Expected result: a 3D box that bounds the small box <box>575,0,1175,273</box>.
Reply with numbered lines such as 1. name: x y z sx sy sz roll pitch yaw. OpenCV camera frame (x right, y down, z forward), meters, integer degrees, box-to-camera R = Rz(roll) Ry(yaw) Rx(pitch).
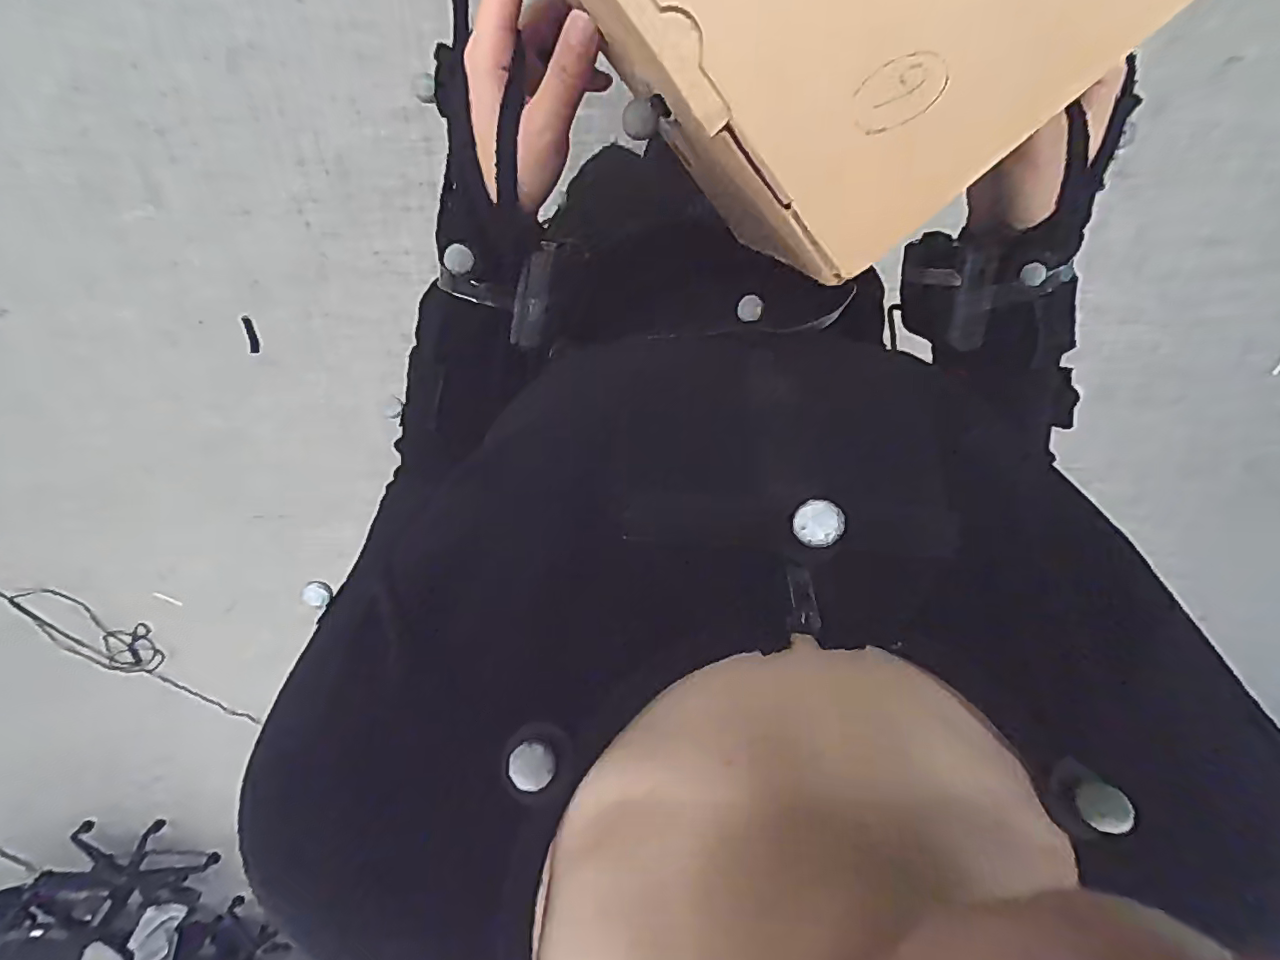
1. small box: 0.071 -0.204 0.190 0.179 0.176 0.168 -38 111 19
